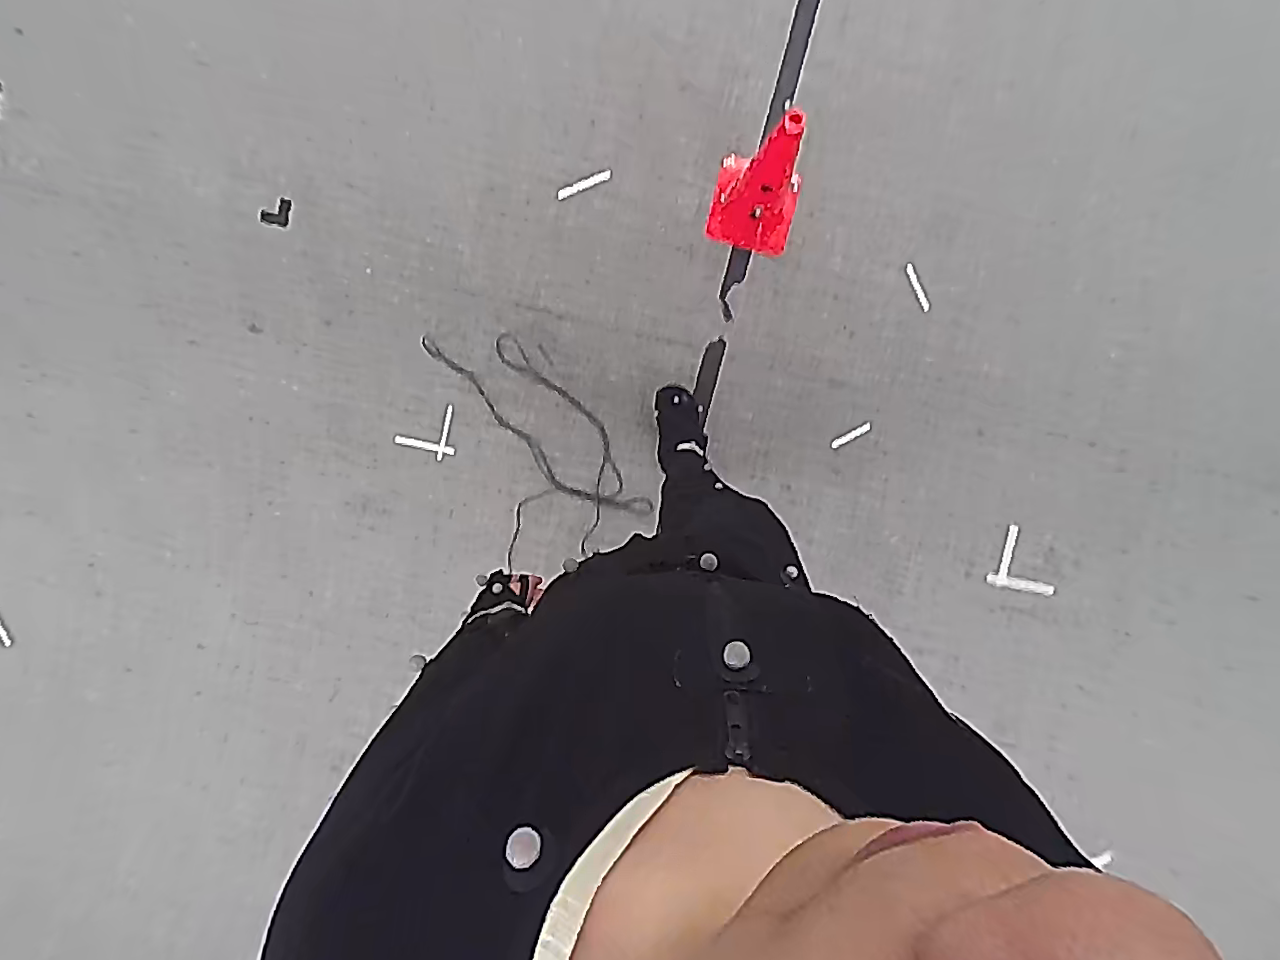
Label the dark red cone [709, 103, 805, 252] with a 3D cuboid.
[{"bbox_3d":[0.273,-0.646,1.125,0.201,0.394,0.202,14,94,0],"label":"dark red cone"}]
